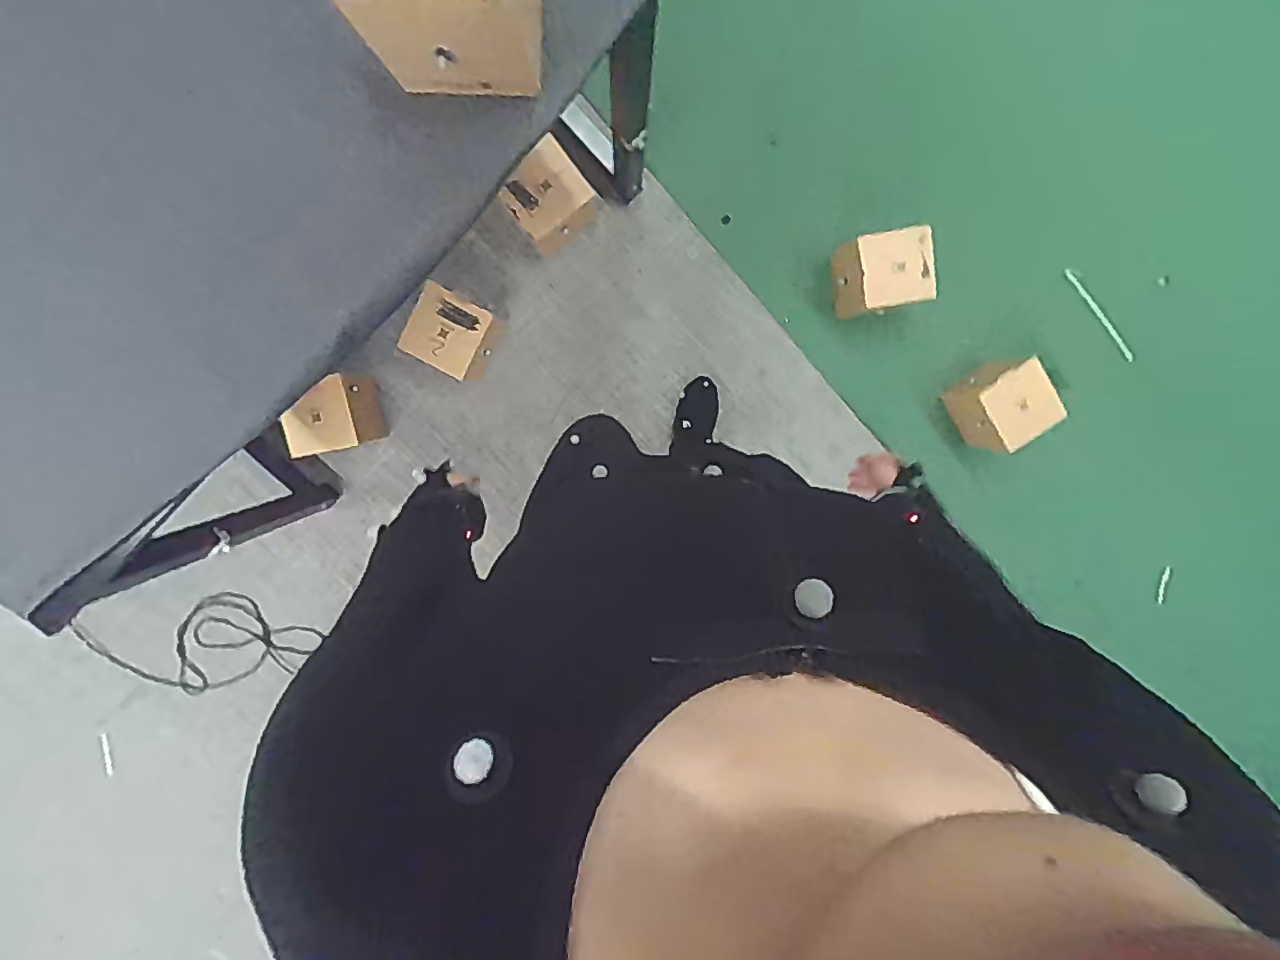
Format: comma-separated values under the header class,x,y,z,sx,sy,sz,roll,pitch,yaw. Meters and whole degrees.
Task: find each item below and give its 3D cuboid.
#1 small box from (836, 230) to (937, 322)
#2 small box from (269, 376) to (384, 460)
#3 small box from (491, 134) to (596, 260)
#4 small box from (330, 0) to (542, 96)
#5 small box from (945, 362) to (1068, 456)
class,x,y,z,sx,sy,sz,roll,pitch,yaw
small box,0.595,-0.493,1.328,0.179,0.176,0.168,-9,99,0
small box,-0.759,-0.156,1.331,0.168,0.176,0.179,-11,99,0
small box,-0.217,-0.651,1.271,0.179,0.176,0.168,-38,99,3
small box,-0.196,-0.527,0.549,0.168,0.176,0.179,3,99,0
small box,0.929,-0.183,1.389,0.168,0.176,0.179,-34,100,4
